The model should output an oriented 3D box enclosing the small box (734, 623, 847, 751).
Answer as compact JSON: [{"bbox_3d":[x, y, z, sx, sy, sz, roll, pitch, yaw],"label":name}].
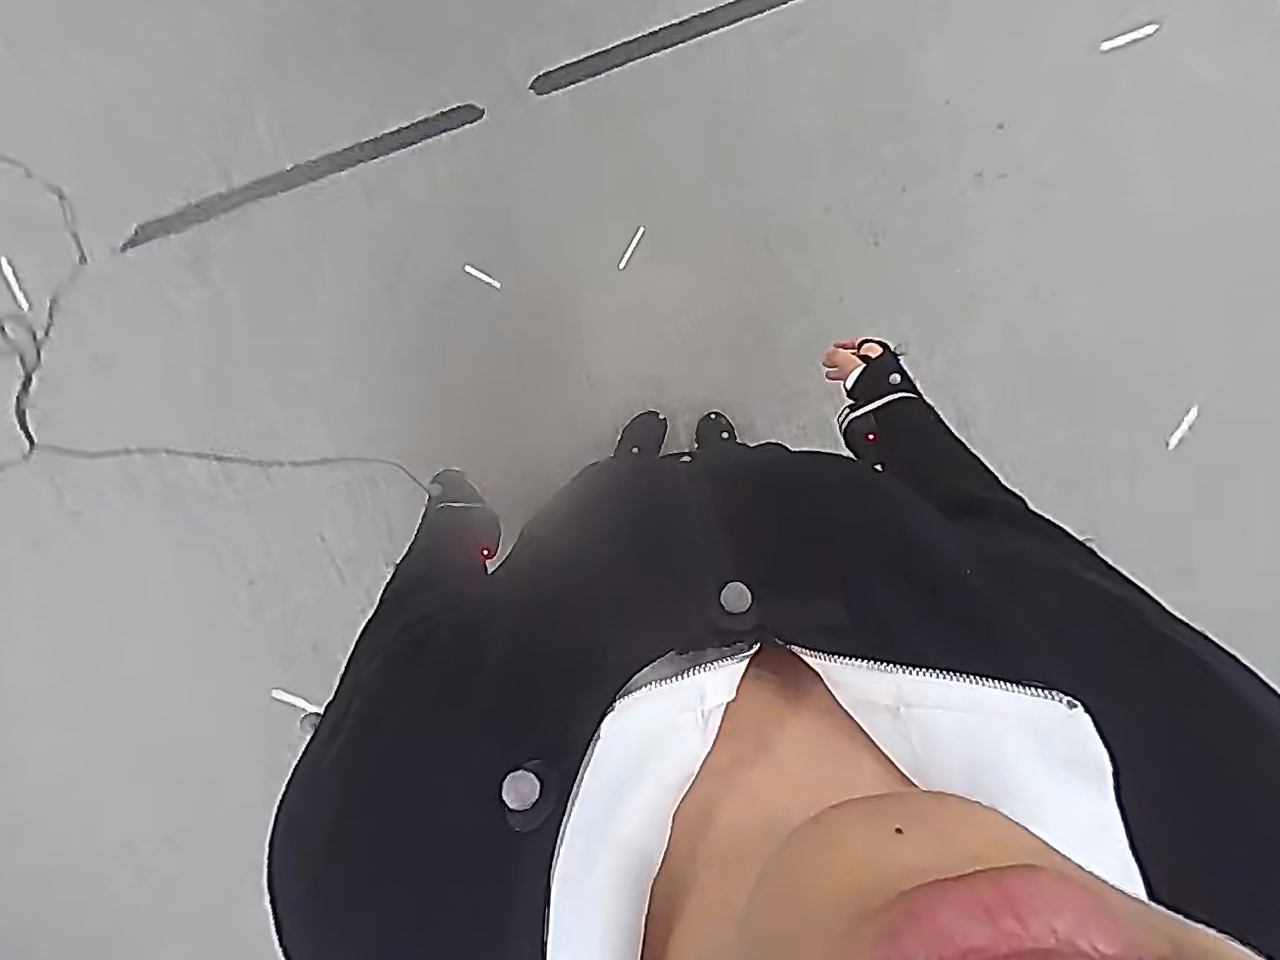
[{"bbox_3d":[0.327,0.452,1.205,0.168,0.176,0.179,-25,97,2],"label":"small box"}]

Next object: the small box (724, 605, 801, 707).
[{"bbox_3d":[0.322,0.432,1.367,0.168,0.176,0.179,-19,97,2],"label":"small box"}]
